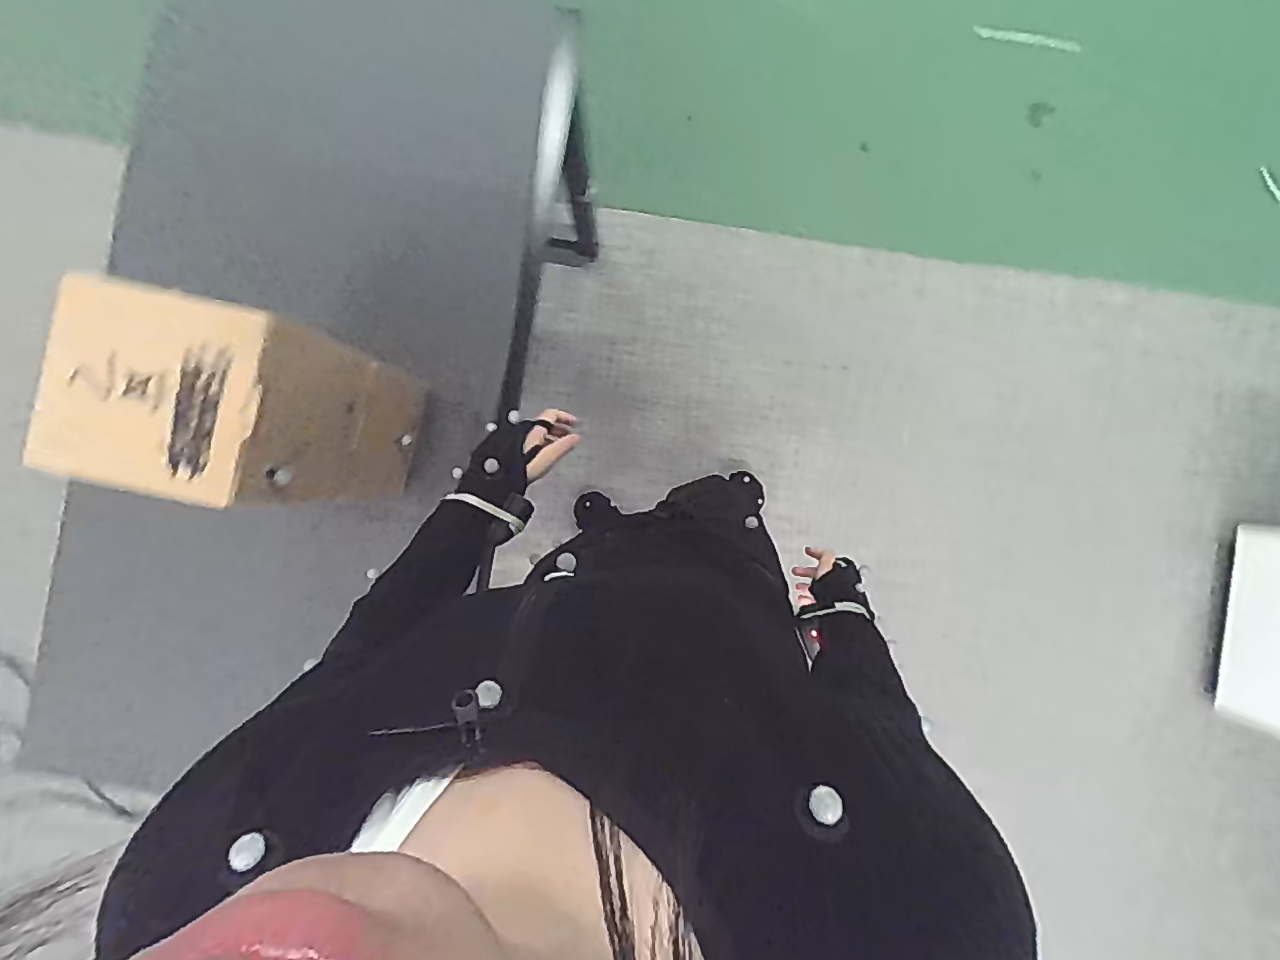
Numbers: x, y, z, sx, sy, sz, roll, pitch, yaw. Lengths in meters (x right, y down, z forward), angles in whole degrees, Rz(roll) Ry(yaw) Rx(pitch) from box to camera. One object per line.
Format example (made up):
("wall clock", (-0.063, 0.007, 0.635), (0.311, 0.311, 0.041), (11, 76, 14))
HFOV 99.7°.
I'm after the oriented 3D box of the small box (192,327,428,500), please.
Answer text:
("small box", (-0.400, -0.074, 0.685), (0.179, 0.176, 0.168), (13, 90, -1))
